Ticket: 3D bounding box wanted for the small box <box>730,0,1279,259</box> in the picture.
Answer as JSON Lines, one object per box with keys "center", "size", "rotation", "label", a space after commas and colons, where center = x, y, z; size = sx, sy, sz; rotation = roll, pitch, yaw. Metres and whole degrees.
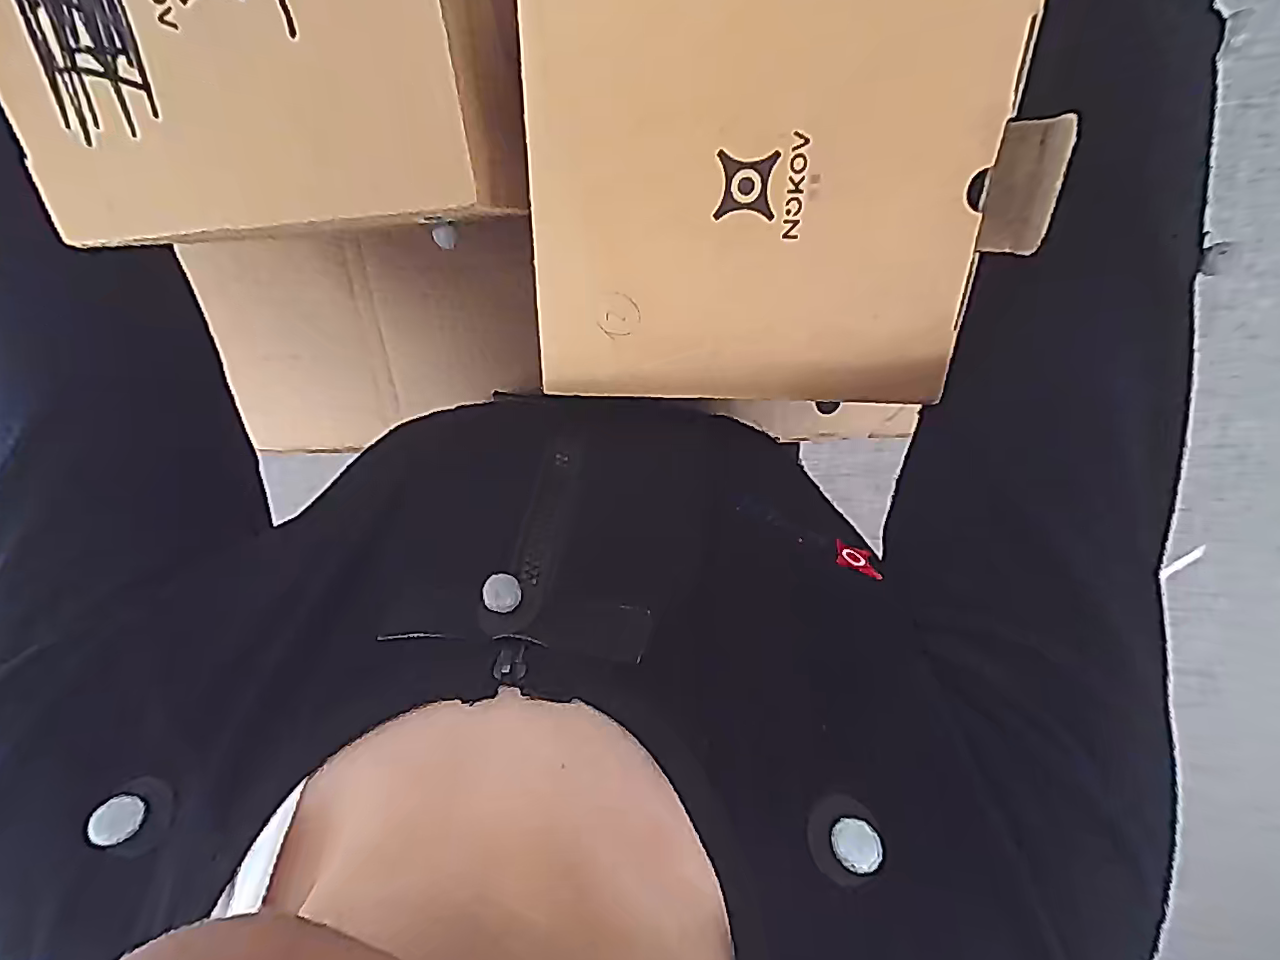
{"center": [0.149, -0.207, 0.226], "size": [0.179, 0.176, 0.168], "rotation": [14, 122, -5], "label": "small box"}
